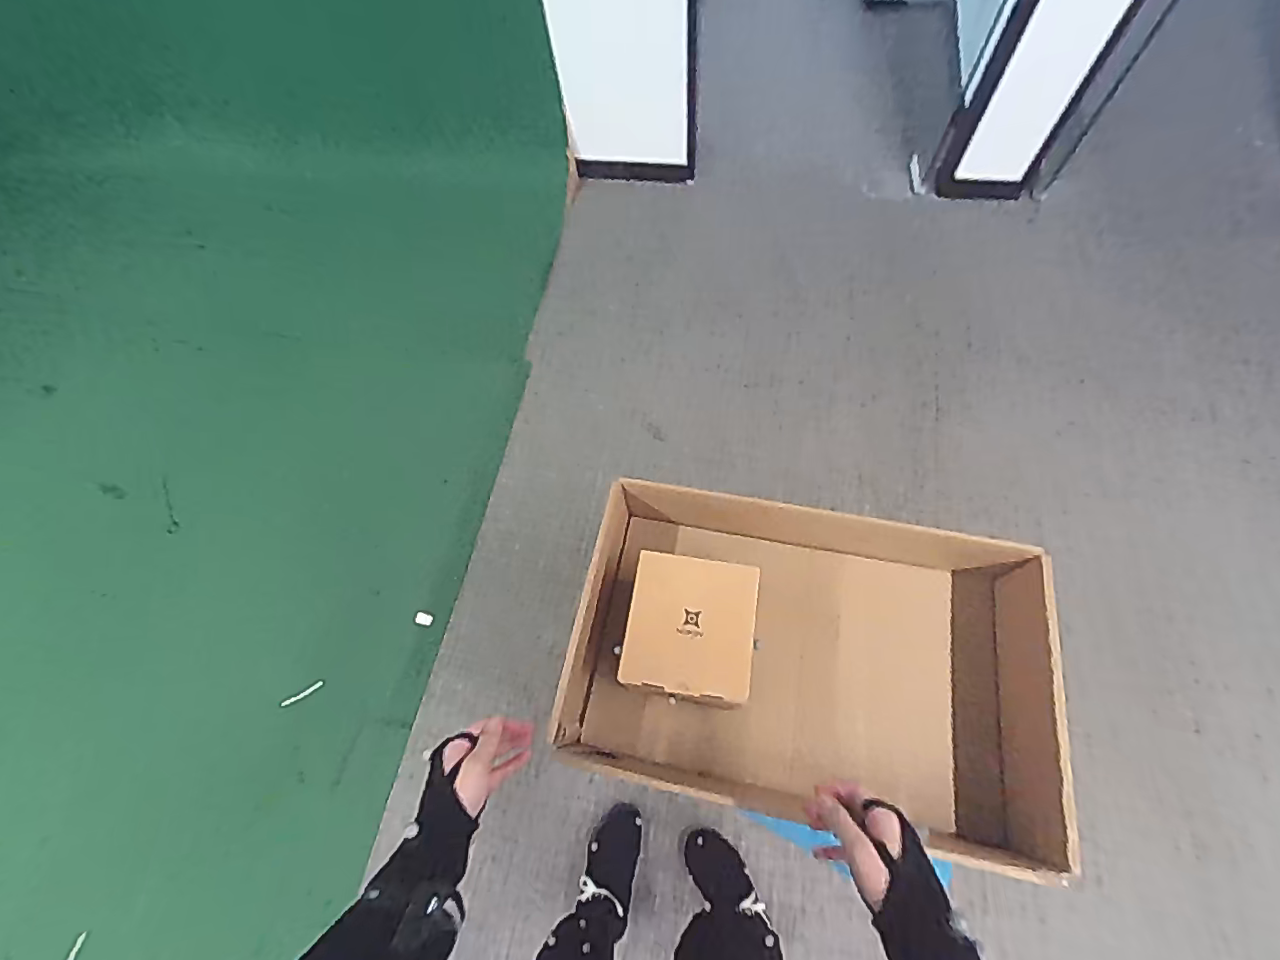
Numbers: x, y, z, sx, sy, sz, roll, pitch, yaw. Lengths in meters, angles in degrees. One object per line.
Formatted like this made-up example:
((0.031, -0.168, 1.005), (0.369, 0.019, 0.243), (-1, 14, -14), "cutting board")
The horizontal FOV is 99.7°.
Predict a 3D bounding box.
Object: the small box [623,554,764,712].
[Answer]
((0.076, 0.223, 0.774), (0.168, 0.176, 0.179), (8, 67, 8), "small box")
